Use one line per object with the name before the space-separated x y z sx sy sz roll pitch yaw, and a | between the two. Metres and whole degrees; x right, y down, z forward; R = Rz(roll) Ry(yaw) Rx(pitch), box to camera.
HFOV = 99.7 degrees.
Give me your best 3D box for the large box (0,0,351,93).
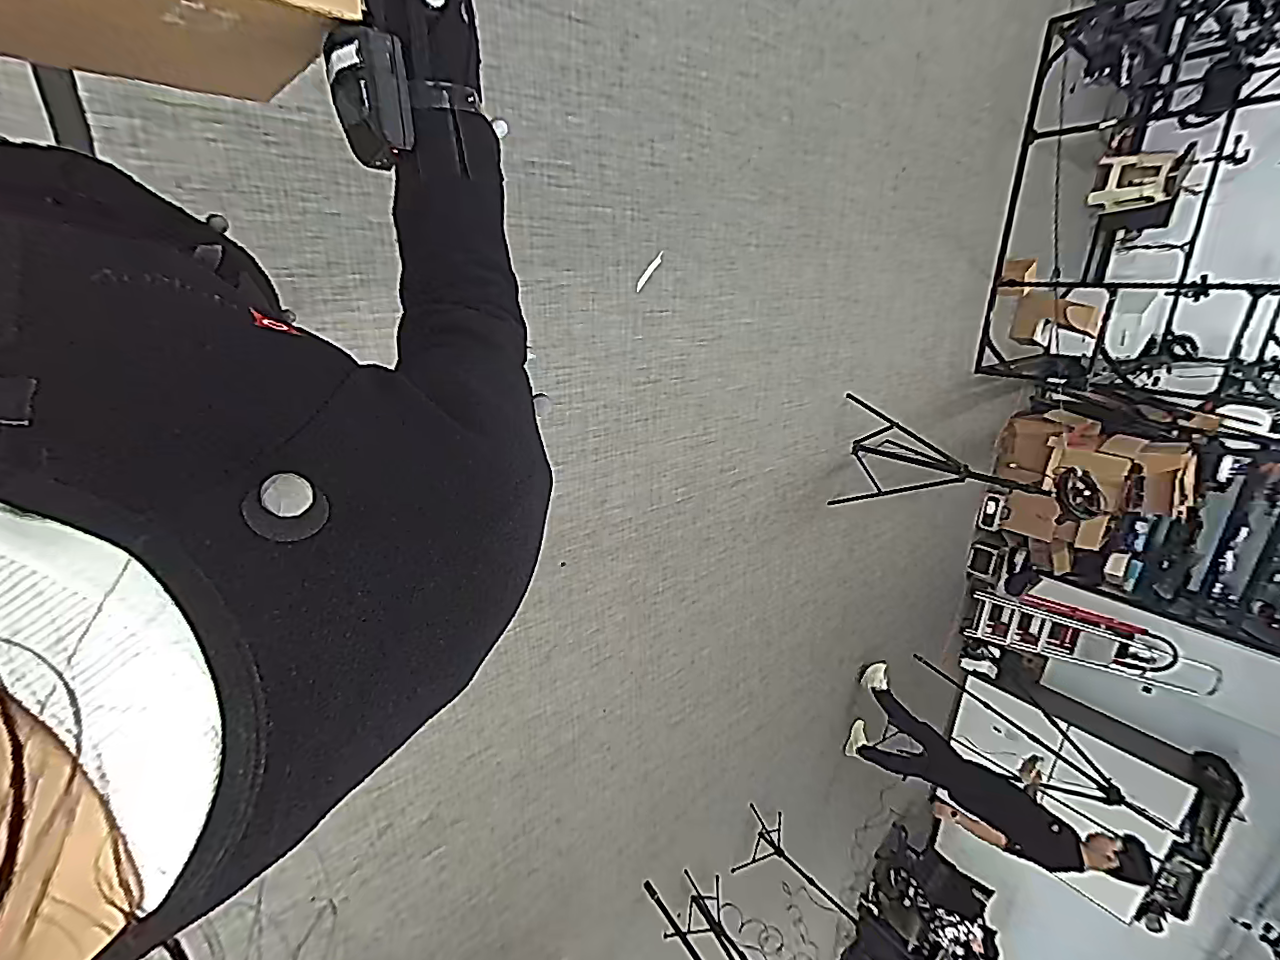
large box | -0.411 -0.414 0.239 0.408 0.320 0.320 -17 121 -38
